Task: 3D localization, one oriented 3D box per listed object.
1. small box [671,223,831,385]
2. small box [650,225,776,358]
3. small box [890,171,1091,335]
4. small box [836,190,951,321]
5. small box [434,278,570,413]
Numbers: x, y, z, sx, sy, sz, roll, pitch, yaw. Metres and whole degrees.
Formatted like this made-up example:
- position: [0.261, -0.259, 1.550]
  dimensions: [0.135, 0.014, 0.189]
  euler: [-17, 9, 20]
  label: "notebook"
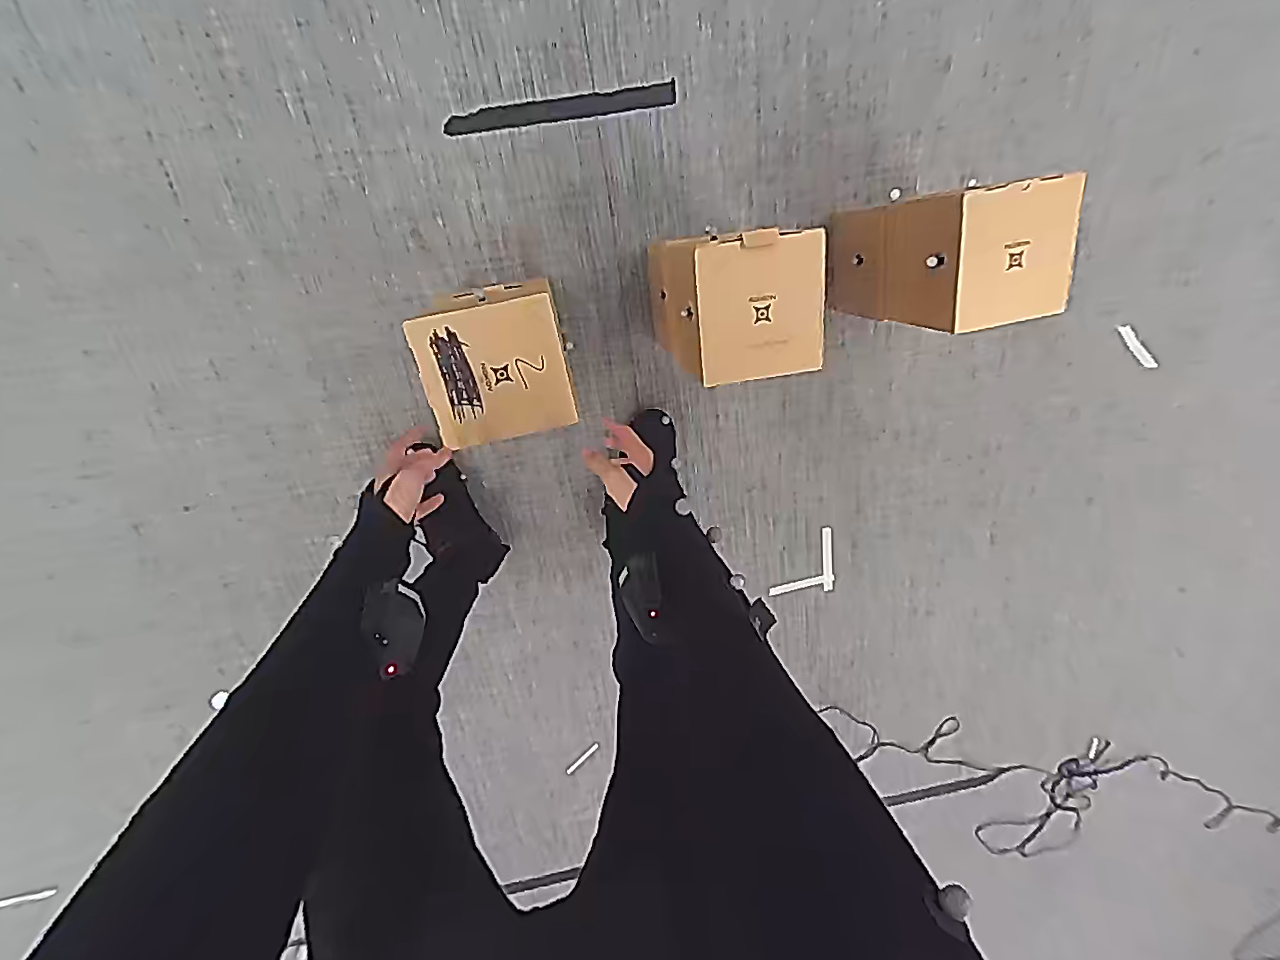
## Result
- position: [0.142, -0.241, 0.736]
  dimensions: [0.168, 0.176, 0.179]
  euler: [-9, 114, -5]
  label: "small box"
- position: [0.115, -0.309, 0.883]
  dimensions: [0.168, 0.176, 0.179]
  euler: [-10, 115, -6]
  label: "small box"
- position: [0.476, -0.318, 0.764]
  dimensions: [0.168, 0.176, 0.179]
  euler: [-12, 113, -5]
  label: "small box"
- position: [0.447, -0.379, 0.912]
  dimensions: [0.168, 0.176, 0.179]
  euler: [-13, 114, -4]
  label: "small box"
- position: [-0.211, -0.222, 0.866]
  dimensions: [0.168, 0.176, 0.179]
  euler: [-11, 114, -4]
  label: "small box"
